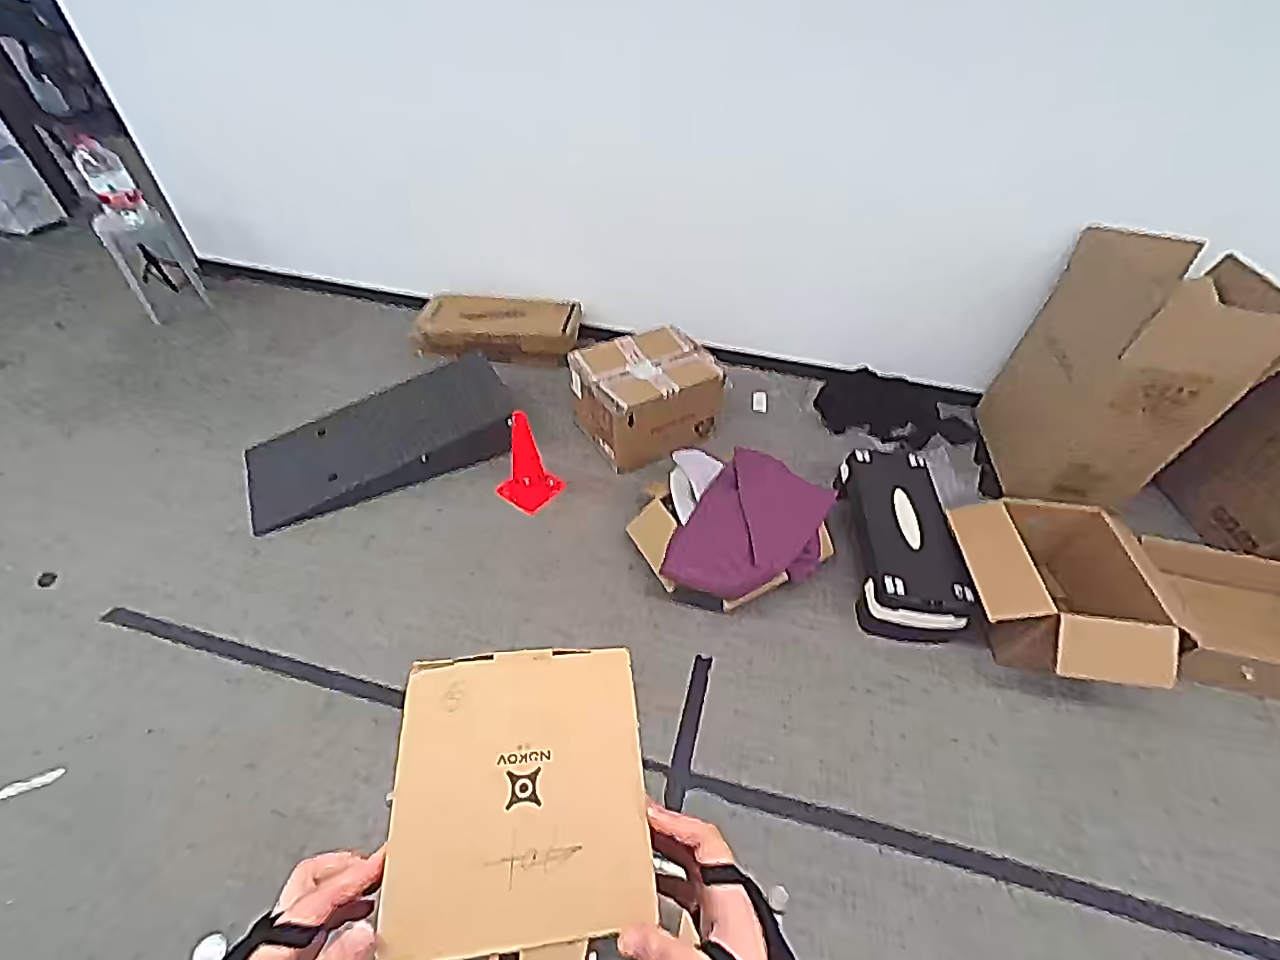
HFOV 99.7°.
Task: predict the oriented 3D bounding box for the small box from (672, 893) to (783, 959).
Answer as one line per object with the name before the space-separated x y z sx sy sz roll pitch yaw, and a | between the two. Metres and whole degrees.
small box | 0.138 0.855 0.929 0.168 0.176 0.179 13 46 10

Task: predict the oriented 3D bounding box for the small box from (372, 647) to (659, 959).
small box | -0.089 0.248 0.422 0.168 0.176 0.179 -1 53 -10
